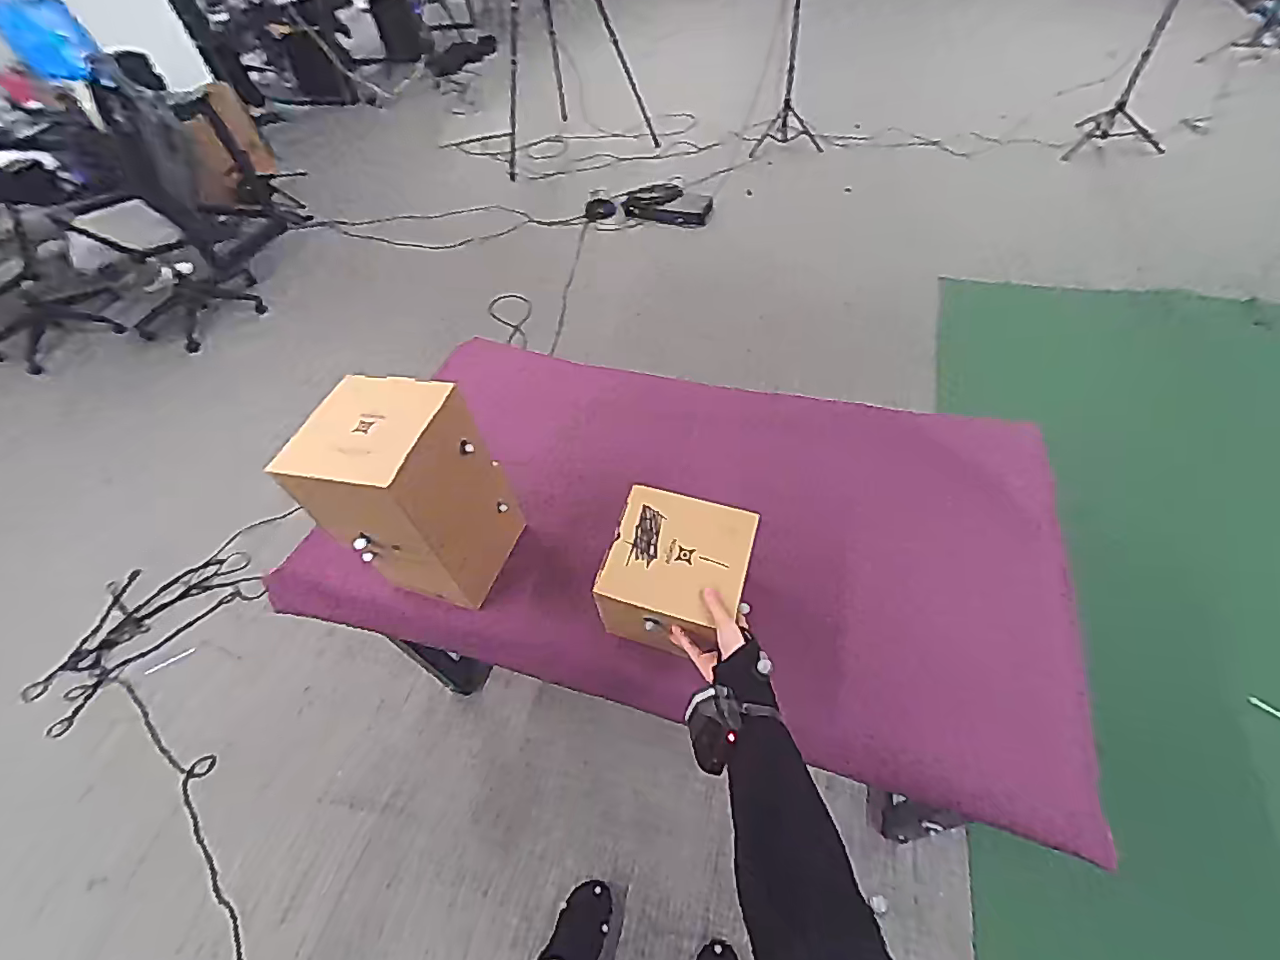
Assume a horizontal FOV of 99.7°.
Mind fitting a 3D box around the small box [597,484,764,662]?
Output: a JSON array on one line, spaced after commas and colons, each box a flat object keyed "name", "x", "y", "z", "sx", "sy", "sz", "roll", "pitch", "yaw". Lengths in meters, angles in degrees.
[{"name": "small box", "x": 0.057, "y": 0.134, "z": 0.744, "sx": 0.179, "sy": 0.176, "sz": 0.168, "roll": 15, "pitch": 61, "yaw": 11}]

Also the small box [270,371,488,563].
[{"name": "small box", "x": -0.319, "y": -0.018, "z": 0.711, "sx": 0.168, "sy": 0.176, "sz": 0.179, "roll": 8, "pitch": 52, "yaw": 13}]
